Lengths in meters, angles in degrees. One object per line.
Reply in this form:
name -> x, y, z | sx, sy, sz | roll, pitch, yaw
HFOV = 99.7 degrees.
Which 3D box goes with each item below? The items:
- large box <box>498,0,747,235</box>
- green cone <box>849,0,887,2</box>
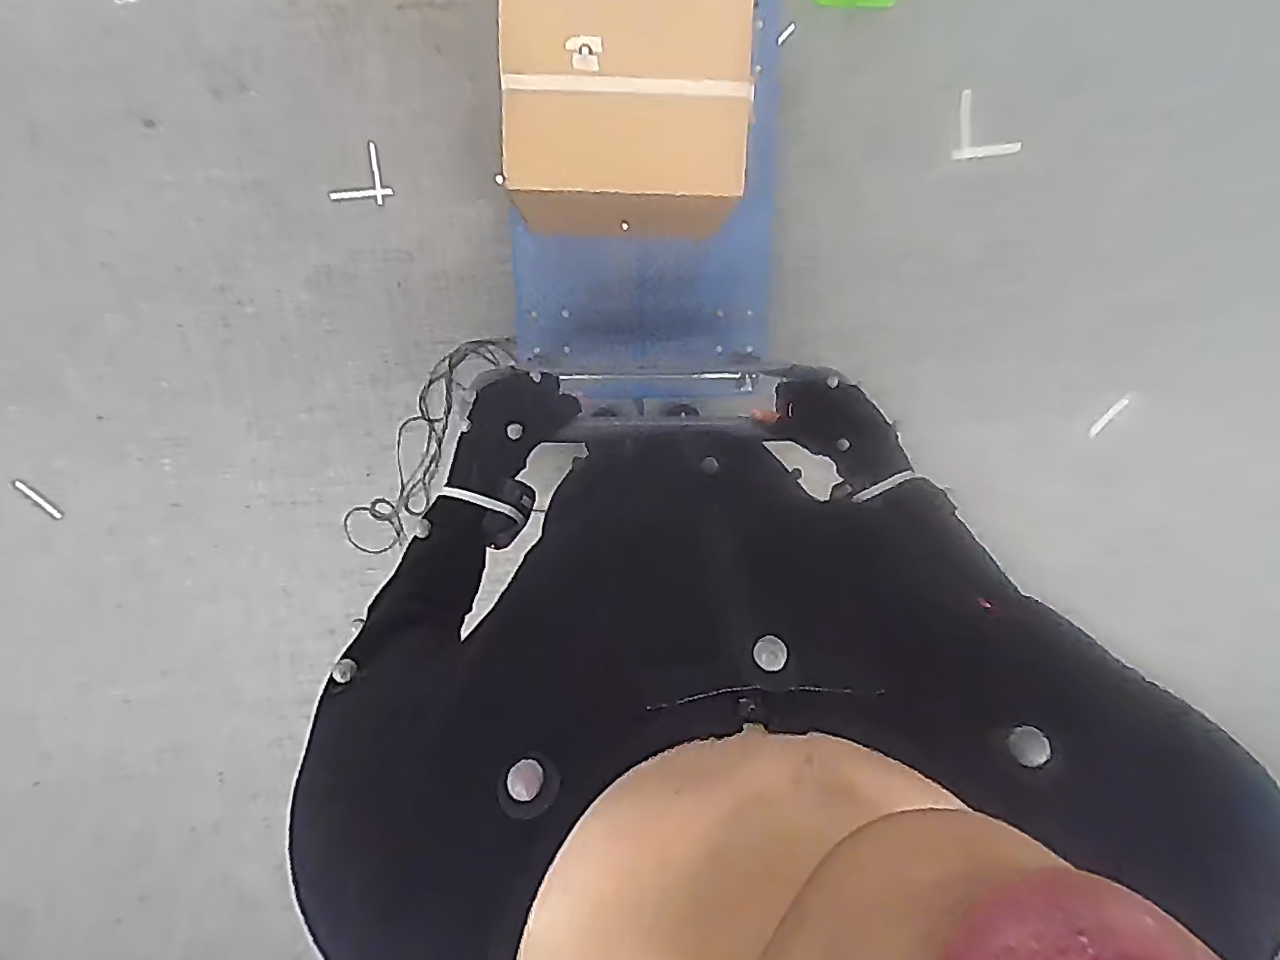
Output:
large box -> -0.027, -0.664, 1.029 | 0.408, 0.320, 0.320 | 1, 101, -1
green cone -> 0.514, -1.198, 1.091 | 0.202, 0.368, 0.200 | 0, 101, -3
